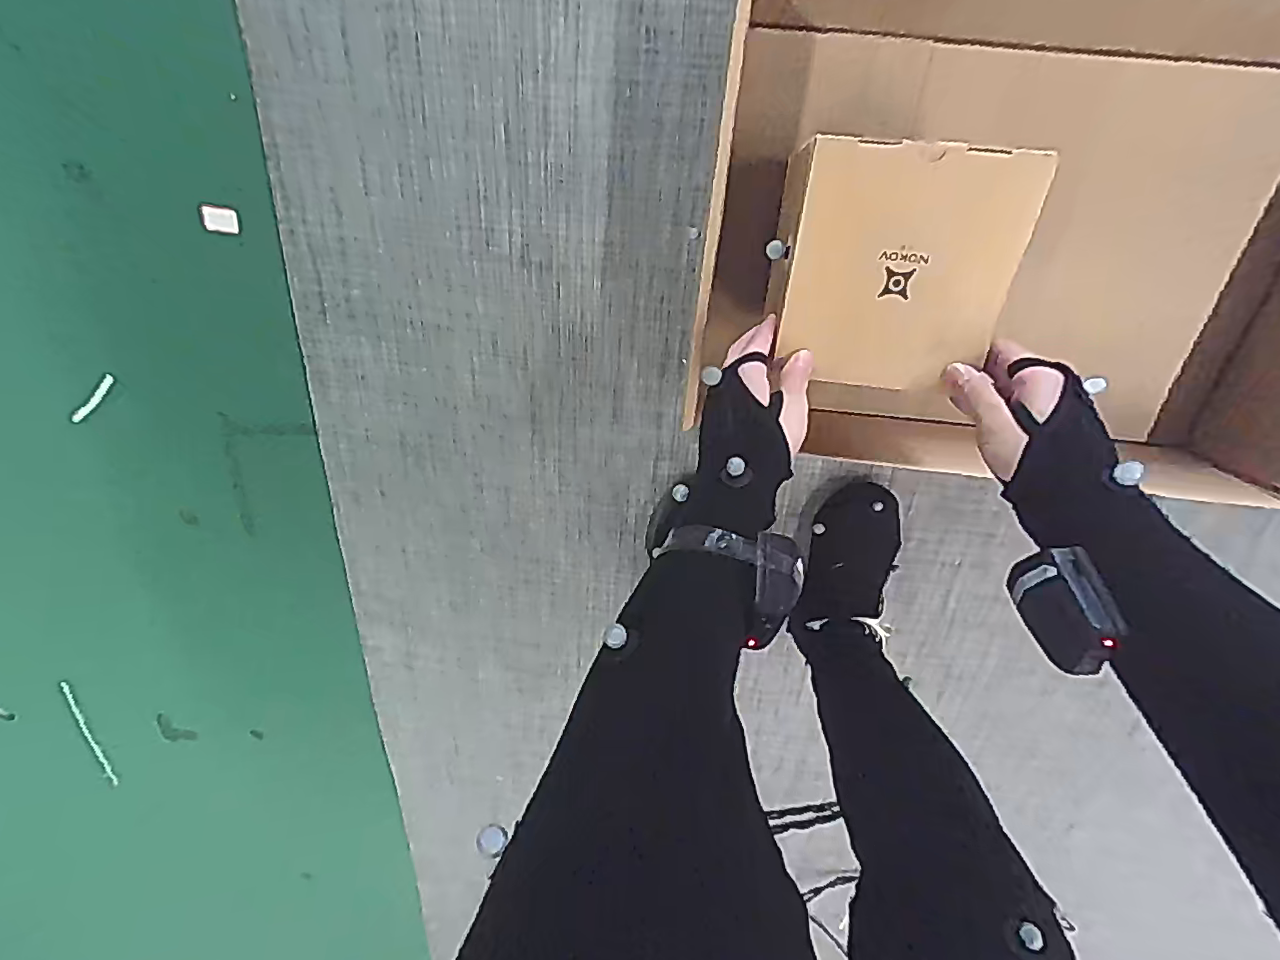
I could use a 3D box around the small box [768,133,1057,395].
[{"bbox_3d":[0.211,-0.192,0.483,0.168,0.176,0.179,8,116,7],"label":"small box"}]
